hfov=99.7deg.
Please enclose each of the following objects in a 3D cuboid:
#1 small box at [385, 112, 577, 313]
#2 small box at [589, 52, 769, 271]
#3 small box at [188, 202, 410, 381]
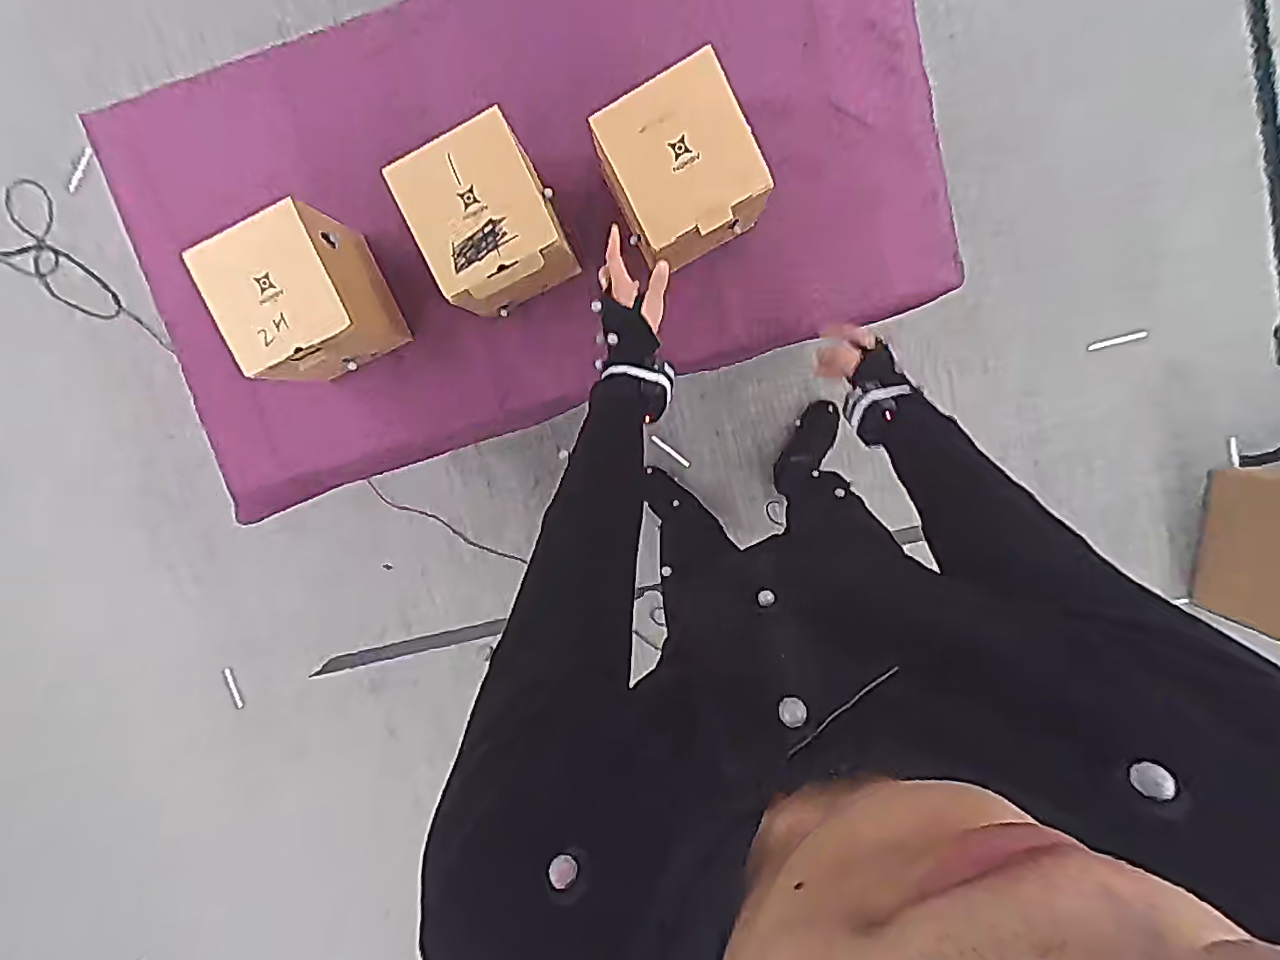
[{"bbox_3d":[-0.203,-0.347,0.748,0.168,0.176,0.179,-25,96,6],"label":"small box"},{"bbox_3d":[0.053,-0.404,0.729,0.168,0.176,0.179,-27,96,6],"label":"small box"},{"bbox_3d":[-0.468,-0.253,0.772,0.168,0.176,0.179,-23,97,6],"label":"small box"}]
